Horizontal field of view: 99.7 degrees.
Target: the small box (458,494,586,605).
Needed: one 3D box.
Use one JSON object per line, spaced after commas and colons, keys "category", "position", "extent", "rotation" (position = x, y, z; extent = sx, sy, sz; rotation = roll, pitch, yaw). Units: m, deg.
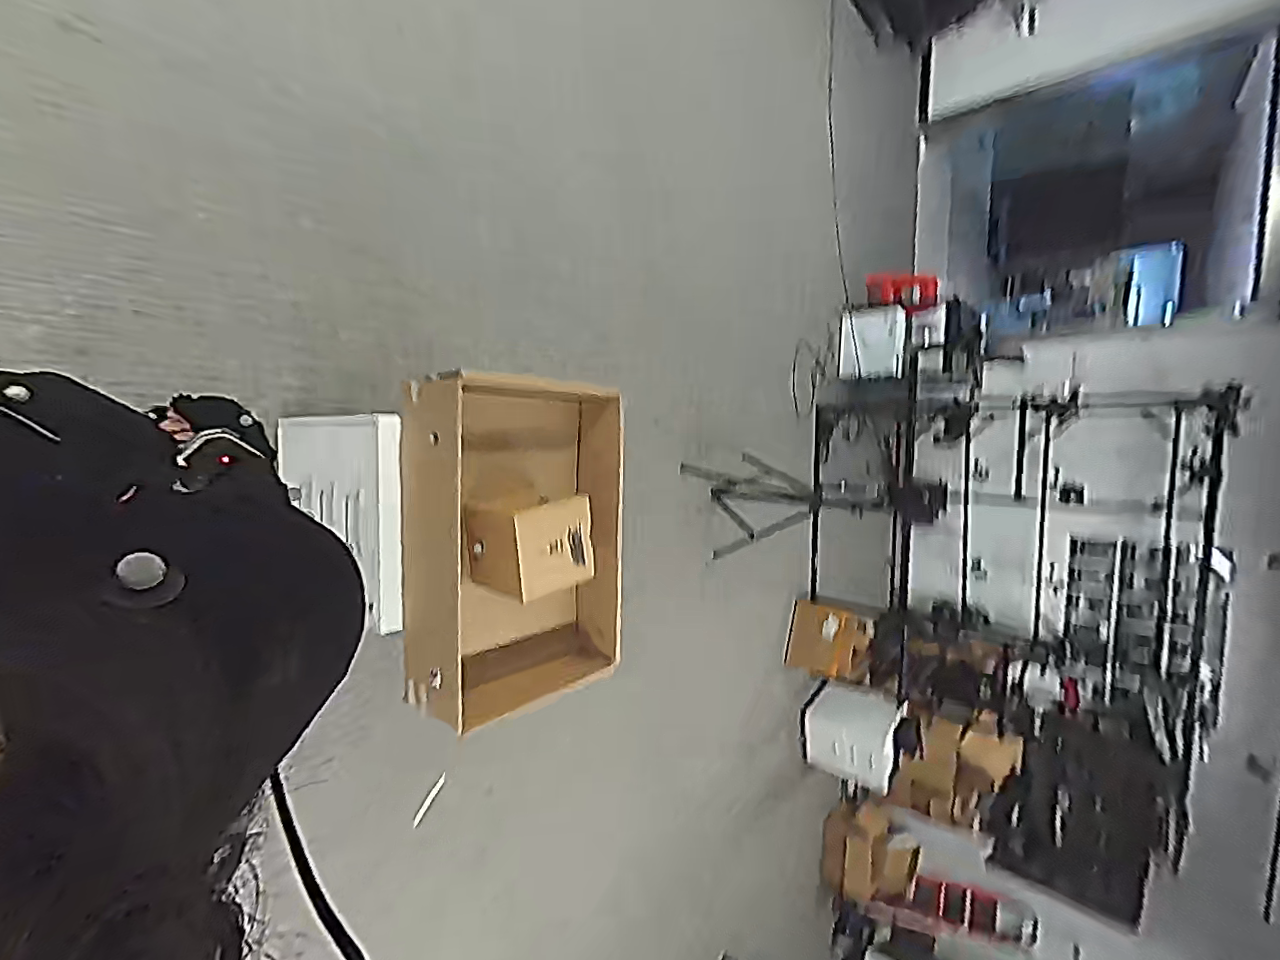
{"category": "small box", "position": [-0.228, 0.124, 1.056], "extent": [0.179, 0.176, 0.168], "rotation": [-13, 103, -47]}
